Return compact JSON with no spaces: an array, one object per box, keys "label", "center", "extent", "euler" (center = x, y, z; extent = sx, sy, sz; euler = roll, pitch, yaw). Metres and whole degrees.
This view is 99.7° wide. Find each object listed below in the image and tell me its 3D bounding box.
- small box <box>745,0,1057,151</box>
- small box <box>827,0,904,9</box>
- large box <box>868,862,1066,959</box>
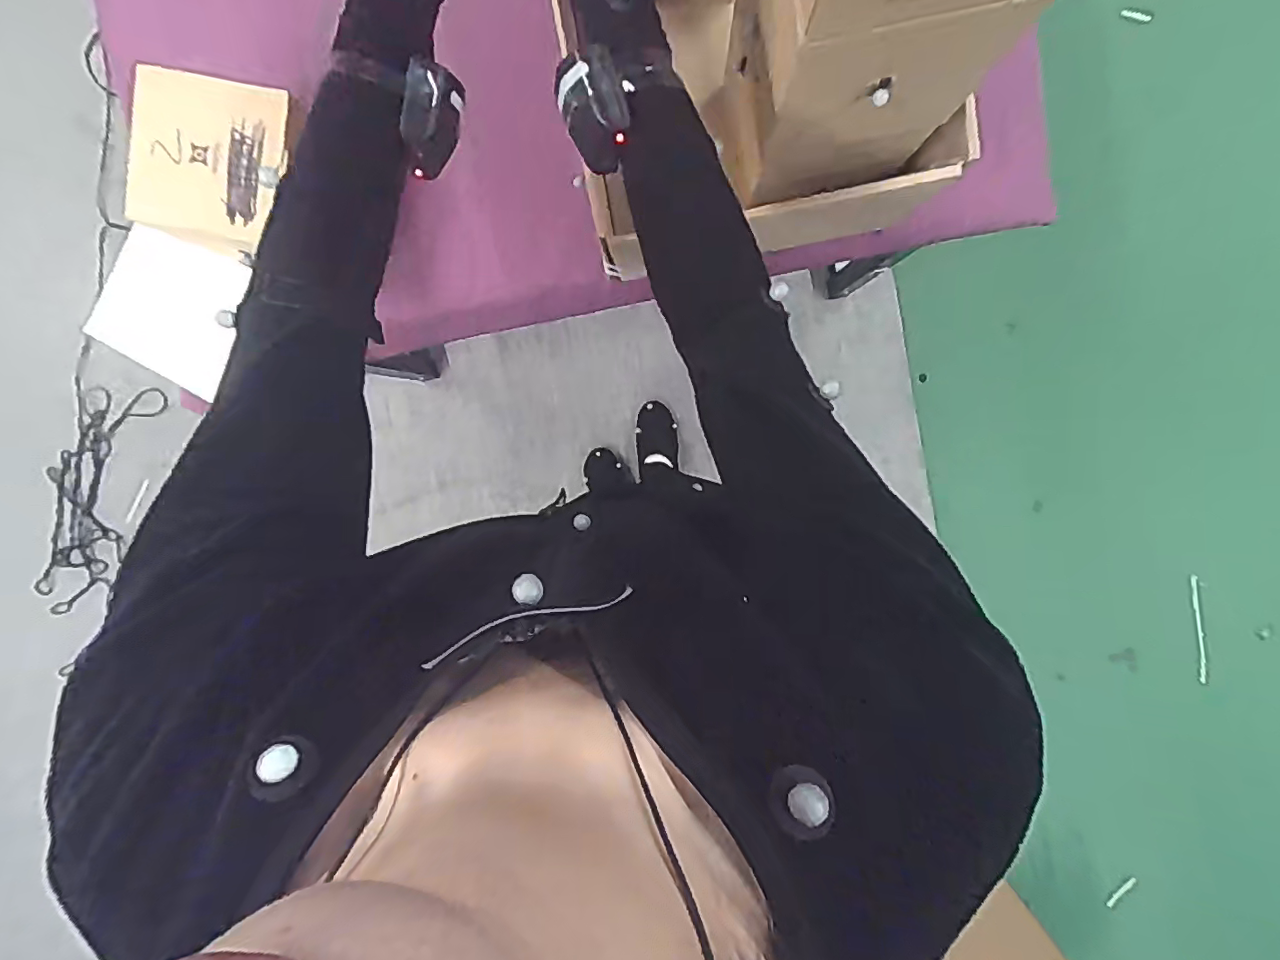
[{"label":"small box","center":[0.186,-0.395,0.427],"extent":[0.179,0.176,0.168],"euler":[-8,96,6]},{"label":"small box","center":[0.173,-0.382,0.264],"extent":[0.168,0.176,0.179],"euler":[-8,96,5]},{"label":"large box","center":[0.921,1.363,1.478],"extent":[0.408,0.320,0.320],"euler":[-26,95,4]}]
